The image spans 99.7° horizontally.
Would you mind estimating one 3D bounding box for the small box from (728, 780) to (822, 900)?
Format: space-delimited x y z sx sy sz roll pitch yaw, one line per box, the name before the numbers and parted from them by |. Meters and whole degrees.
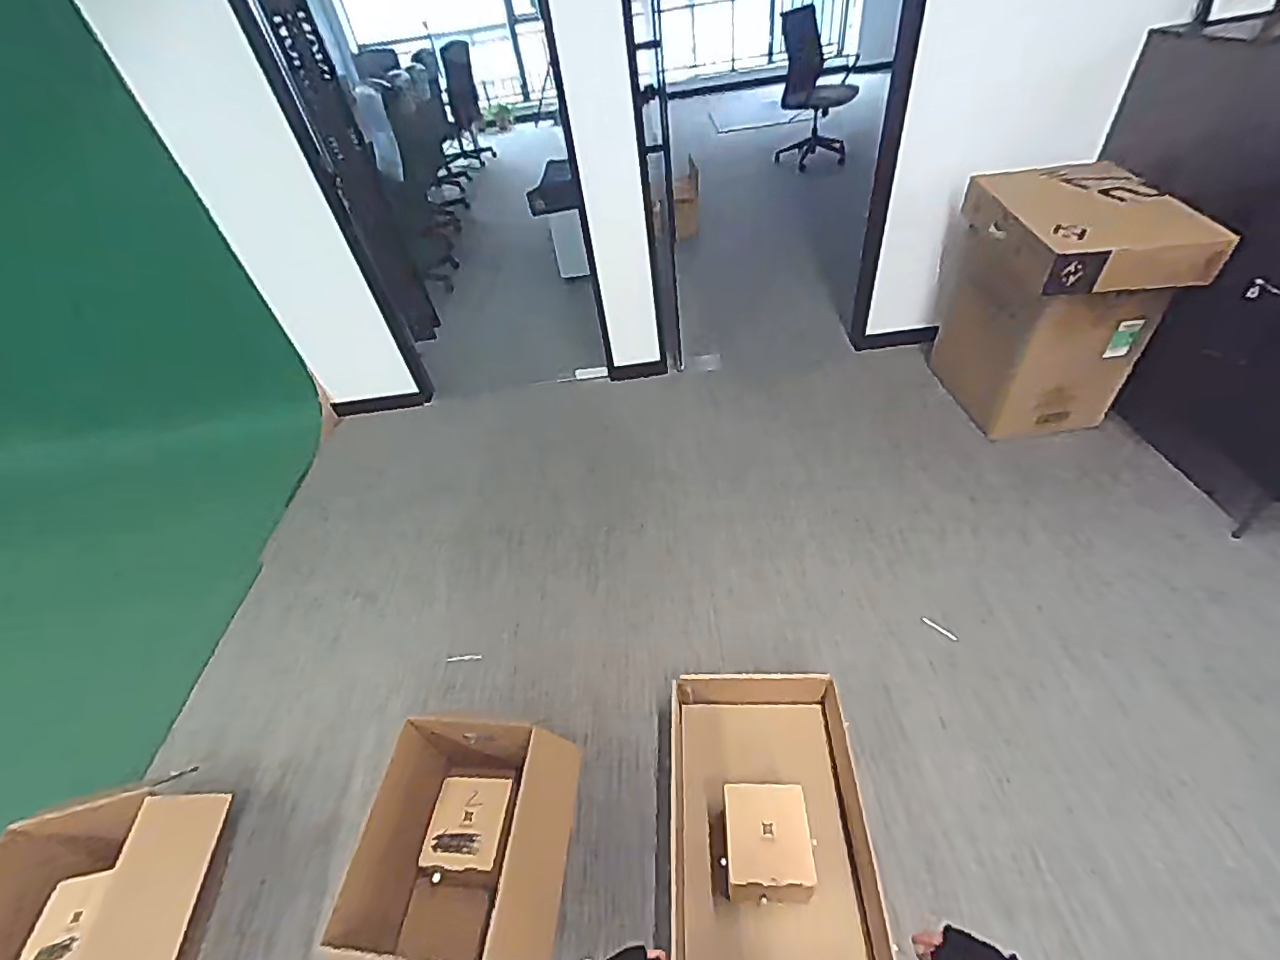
small box | 0.272 0.754 1.134 0.168 0.176 0.179 -3 44 6
